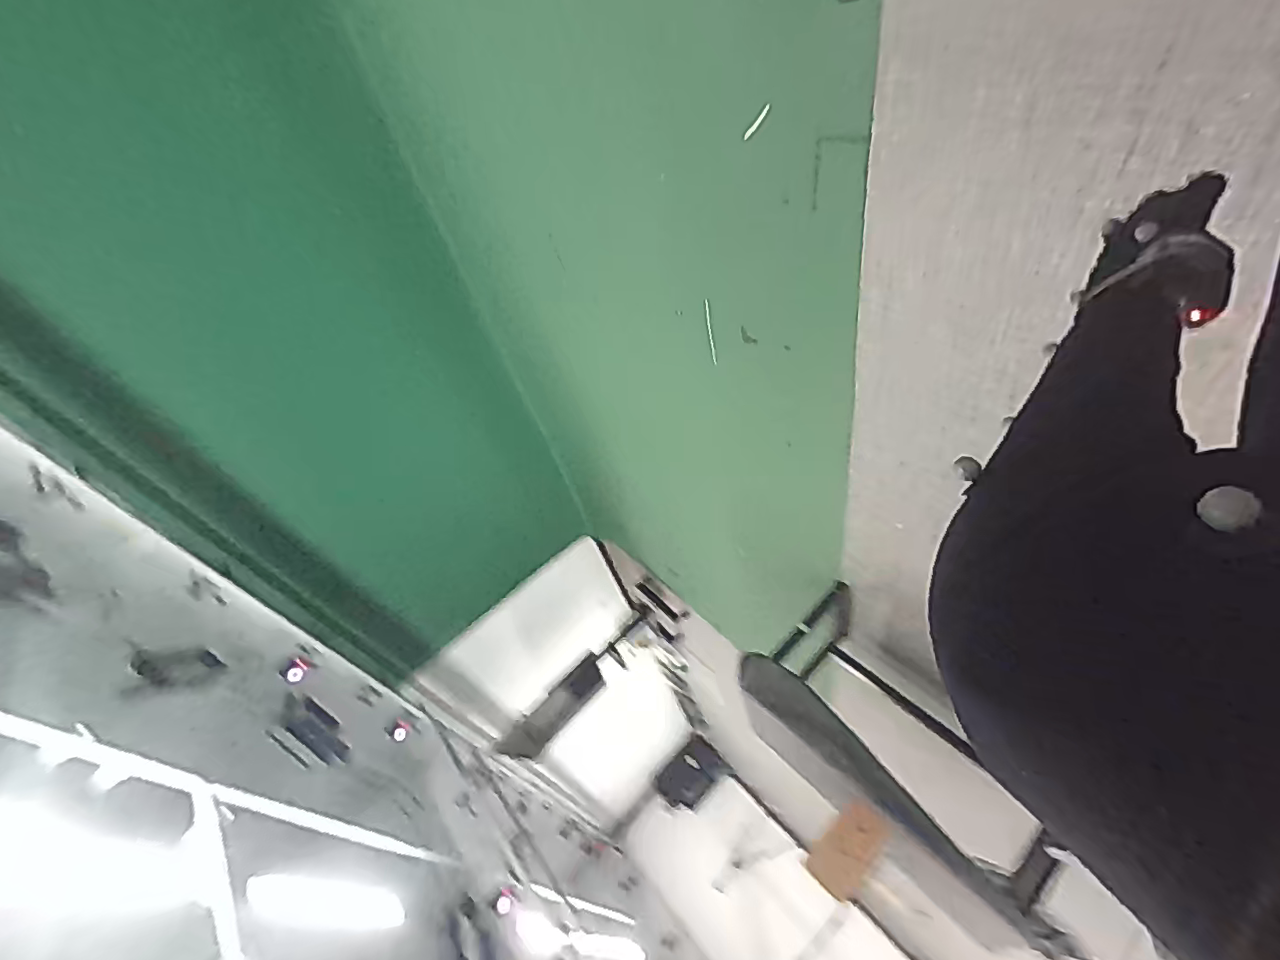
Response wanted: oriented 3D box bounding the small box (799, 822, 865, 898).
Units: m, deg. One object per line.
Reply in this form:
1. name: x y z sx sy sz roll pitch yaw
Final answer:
1. small box: 0.735 1.451 2.077 0.179 0.176 0.168 36 157 38

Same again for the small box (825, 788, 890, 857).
1. small box: 0.852 1.348 2.125 0.179 0.176 0.168 35 157 42
